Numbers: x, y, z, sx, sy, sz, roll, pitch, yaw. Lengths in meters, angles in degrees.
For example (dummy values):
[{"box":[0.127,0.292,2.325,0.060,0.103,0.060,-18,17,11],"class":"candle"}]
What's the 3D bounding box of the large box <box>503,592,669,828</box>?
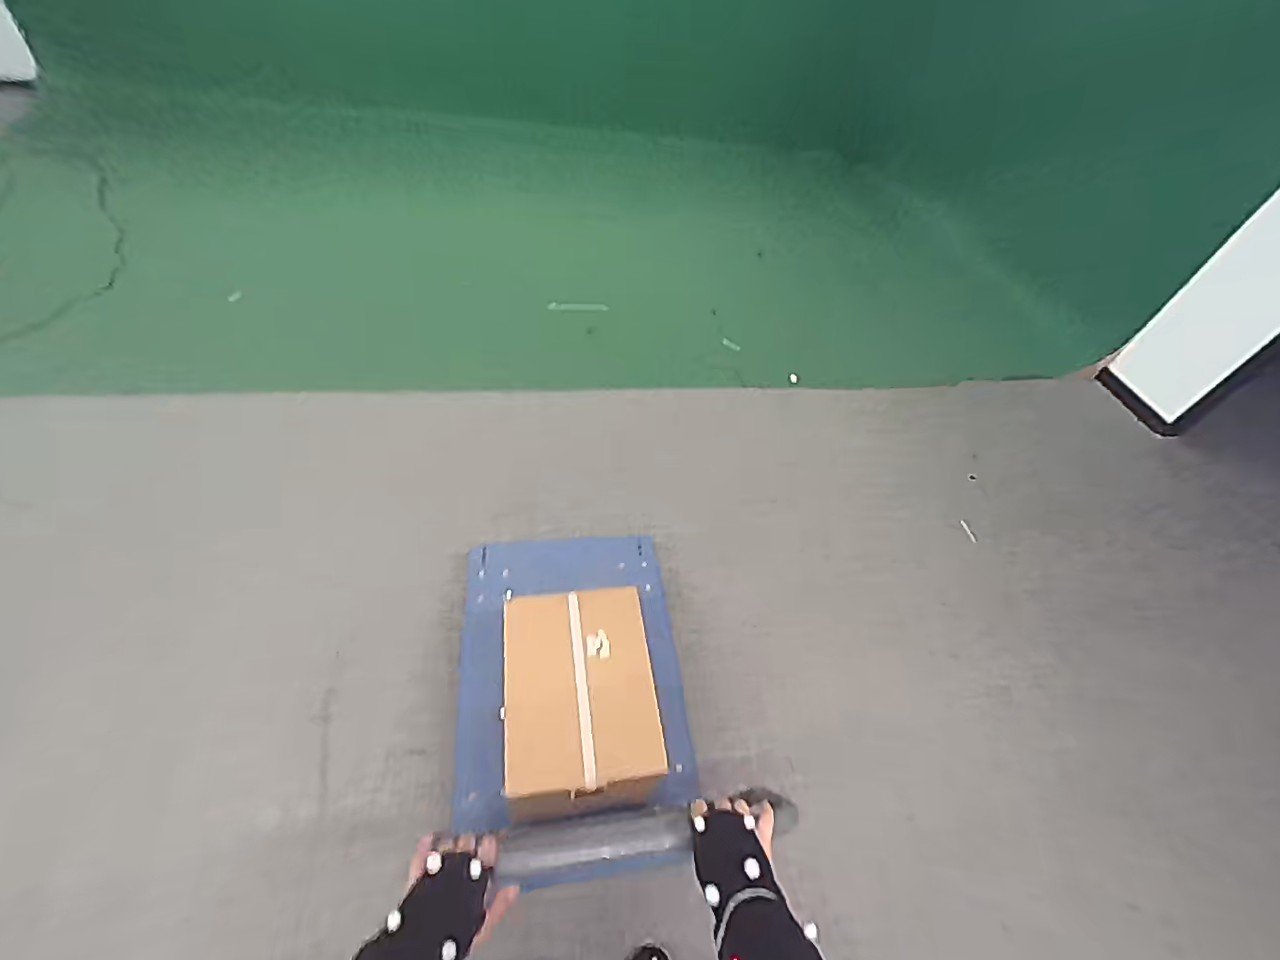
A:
[{"box":[-0.142,0.524,1.251,0.320,0.320,0.408,-3,50,-12],"class":"large box"}]
